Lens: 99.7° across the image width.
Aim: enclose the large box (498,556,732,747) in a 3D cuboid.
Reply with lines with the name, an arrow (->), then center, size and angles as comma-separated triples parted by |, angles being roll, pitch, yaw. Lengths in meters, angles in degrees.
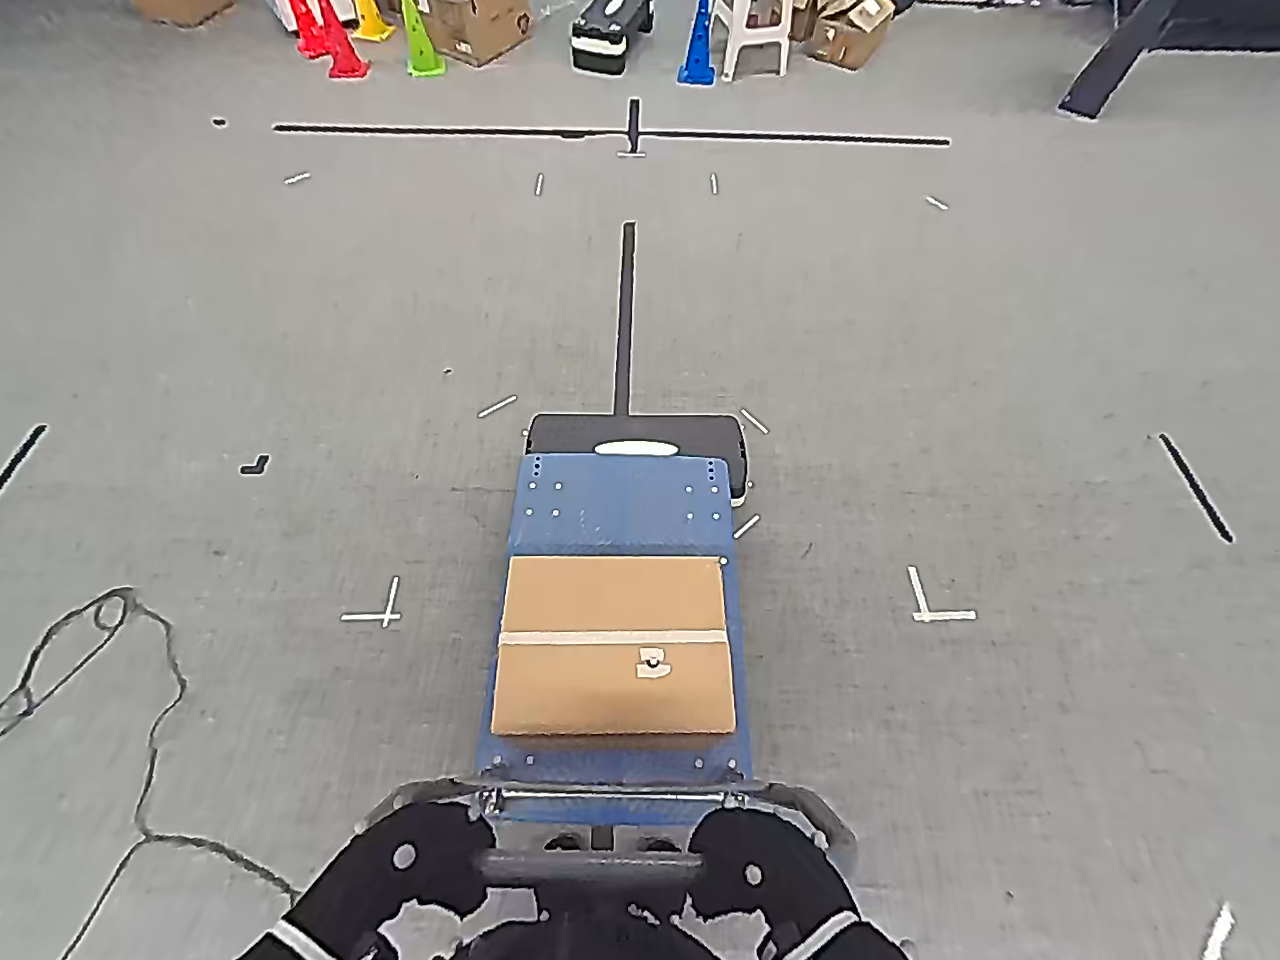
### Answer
large box -> -0.052, 0.359, 1.110 | 0.408, 0.320, 0.320 | 1, 60, -3
